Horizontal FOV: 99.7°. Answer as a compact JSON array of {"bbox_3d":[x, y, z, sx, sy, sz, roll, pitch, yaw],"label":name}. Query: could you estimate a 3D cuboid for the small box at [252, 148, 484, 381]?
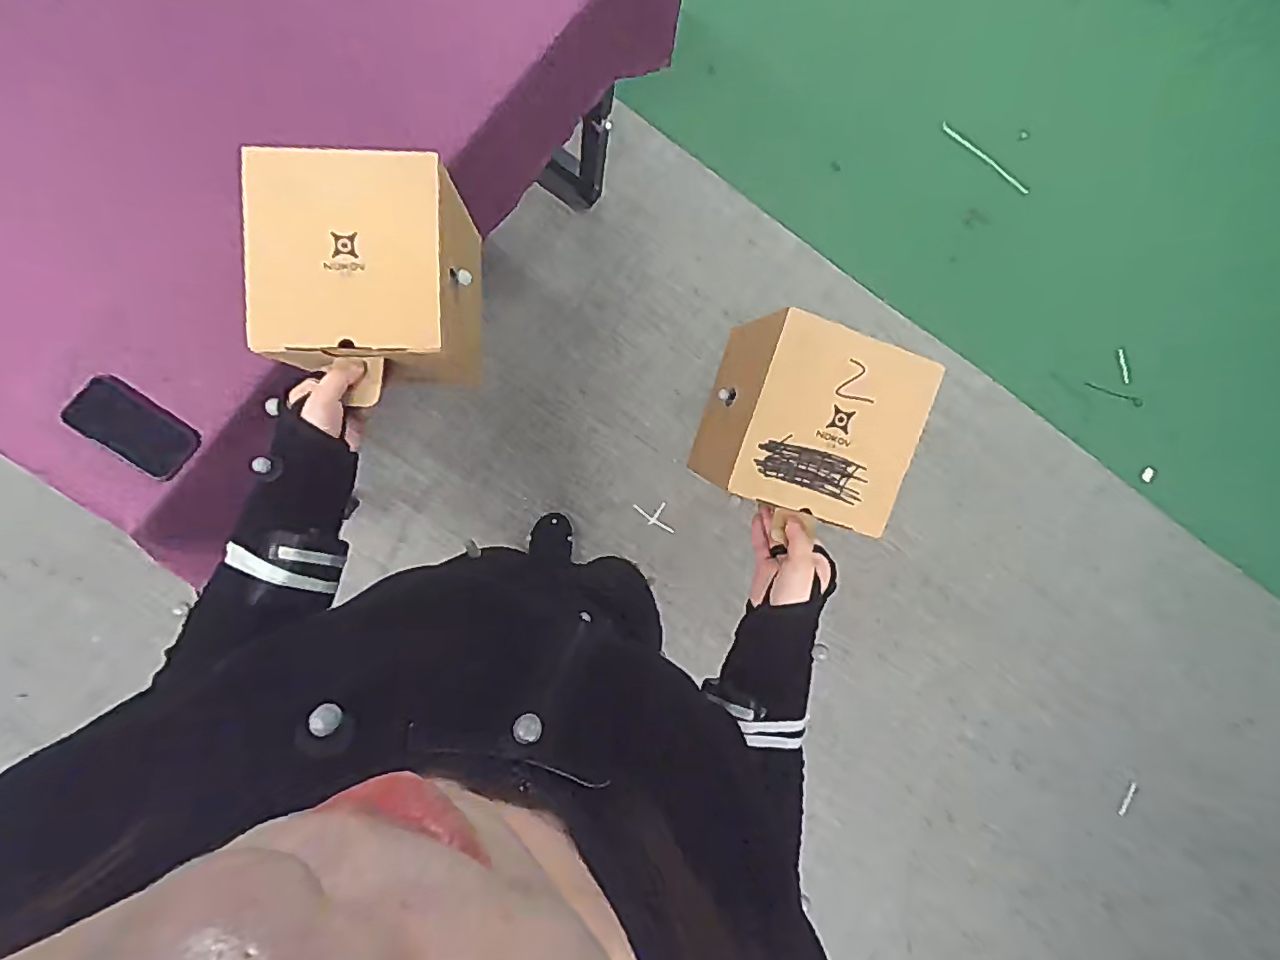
[{"bbox_3d":[-0.261,-0.204,0.557,0.168,0.176,0.179,0,92,-4],"label":"small box"}]
